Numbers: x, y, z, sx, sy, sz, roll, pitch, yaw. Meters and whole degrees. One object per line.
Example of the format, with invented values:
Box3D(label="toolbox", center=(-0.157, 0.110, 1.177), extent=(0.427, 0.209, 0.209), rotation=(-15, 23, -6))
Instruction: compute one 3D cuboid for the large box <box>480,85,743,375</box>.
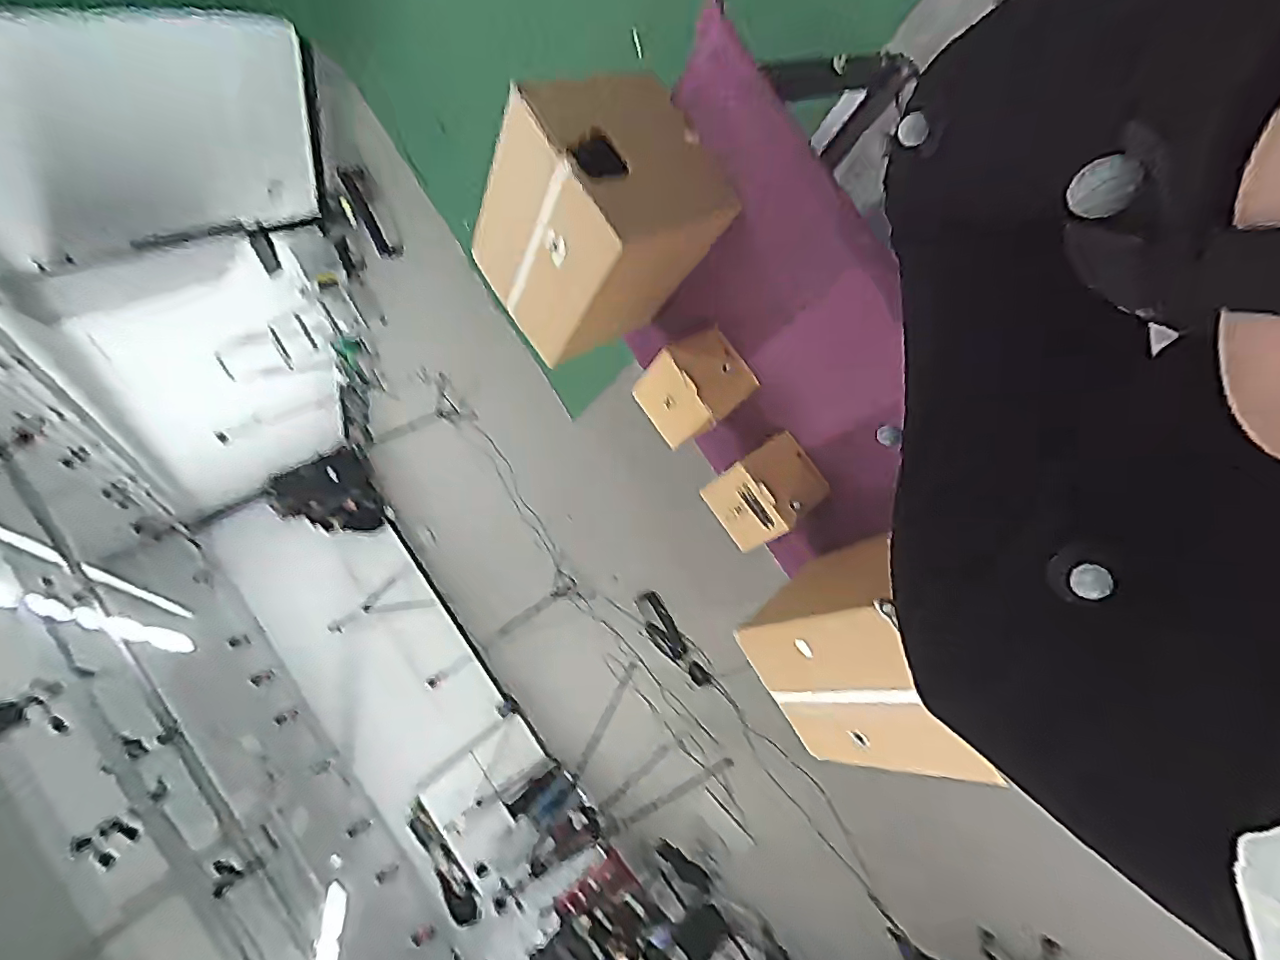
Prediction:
Box3D(label="large box", center=(-0.076, -0.483, 1.084), extent=(0.320, 0.320, 0.408), rotation=(55, 147, 2))
